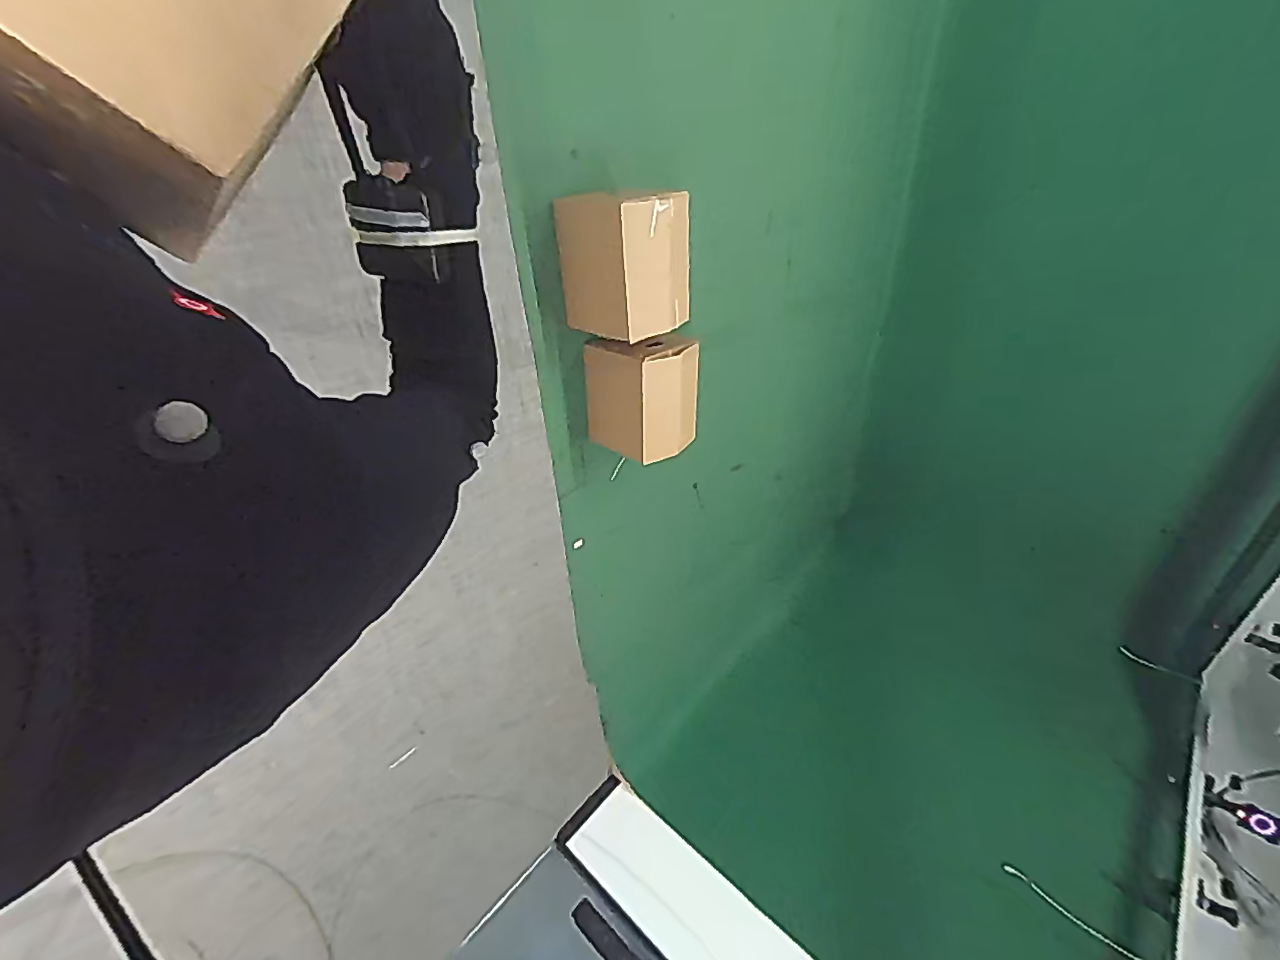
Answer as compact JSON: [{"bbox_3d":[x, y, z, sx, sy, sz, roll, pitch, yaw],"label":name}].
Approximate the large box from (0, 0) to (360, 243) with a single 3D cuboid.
[{"bbox_3d":[-0.370,-0.399,0.275,0.408,0.320,0.320,33,78,-42],"label":"large box"}]
